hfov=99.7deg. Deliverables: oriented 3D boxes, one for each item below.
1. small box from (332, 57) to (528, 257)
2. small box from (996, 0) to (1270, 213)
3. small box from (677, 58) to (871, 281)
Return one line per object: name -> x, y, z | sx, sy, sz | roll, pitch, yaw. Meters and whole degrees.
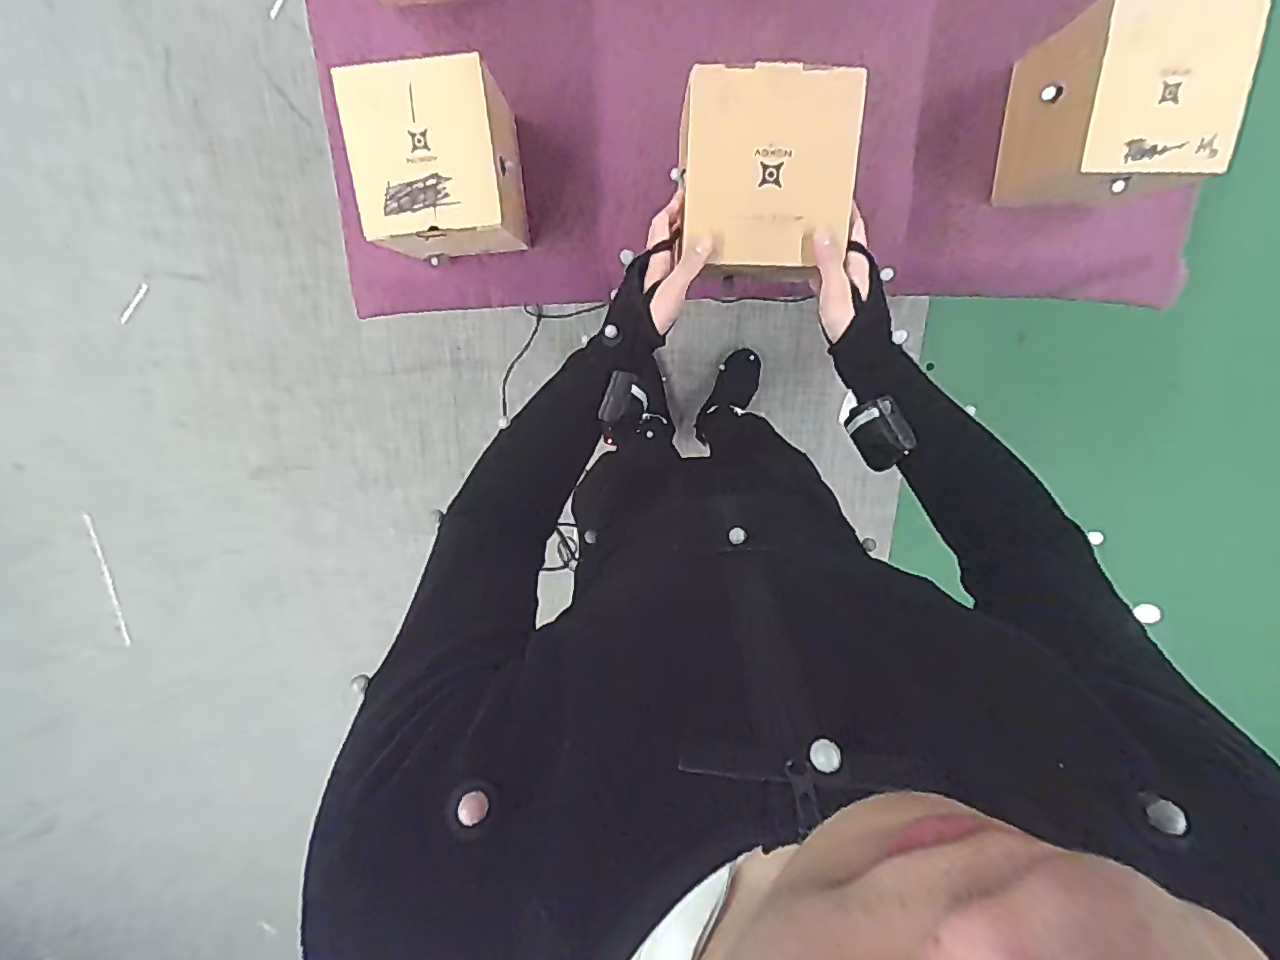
small box -> -0.245, -0.385, 0.679 | 0.168, 0.176, 0.179 | -5, 104, 1
small box -> 0.575, -0.443, 0.660 | 0.168, 0.176, 0.179 | 1, 104, 1
small box -> 0.129, -0.322, 0.595 | 0.168, 0.176, 0.179 | 2, 107, 0
